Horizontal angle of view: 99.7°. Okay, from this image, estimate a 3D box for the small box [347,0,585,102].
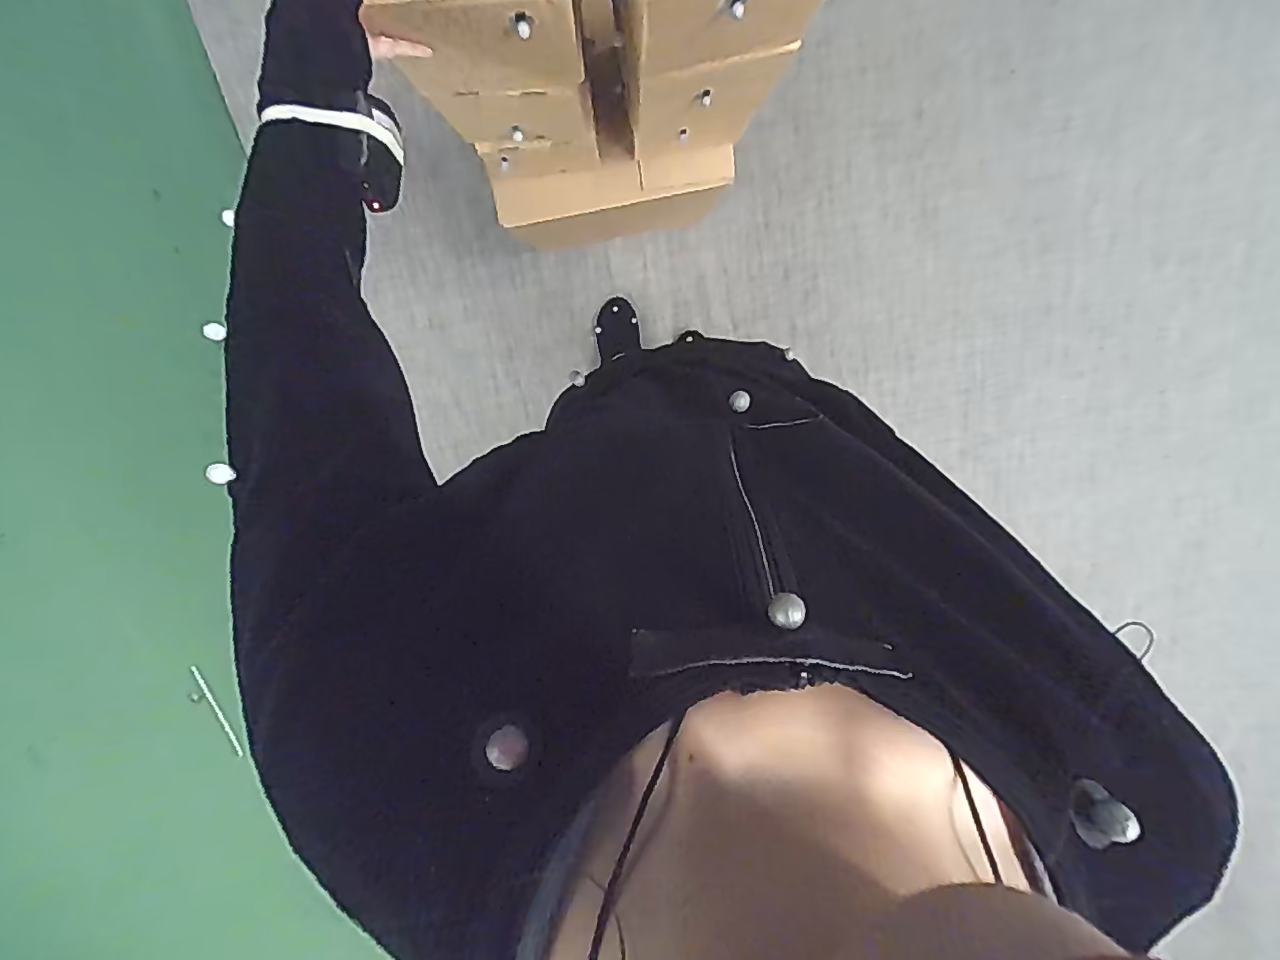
[{"bbox_3d":[-0.149,-0.465,0.483,0.179,0.176,0.168,-5,107,0],"label":"small box"}]

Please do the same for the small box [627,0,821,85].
[{"bbox_3d":[0.069,-0.485,0.475,0.179,0.176,0.168,-11,107,3],"label":"small box"}]
